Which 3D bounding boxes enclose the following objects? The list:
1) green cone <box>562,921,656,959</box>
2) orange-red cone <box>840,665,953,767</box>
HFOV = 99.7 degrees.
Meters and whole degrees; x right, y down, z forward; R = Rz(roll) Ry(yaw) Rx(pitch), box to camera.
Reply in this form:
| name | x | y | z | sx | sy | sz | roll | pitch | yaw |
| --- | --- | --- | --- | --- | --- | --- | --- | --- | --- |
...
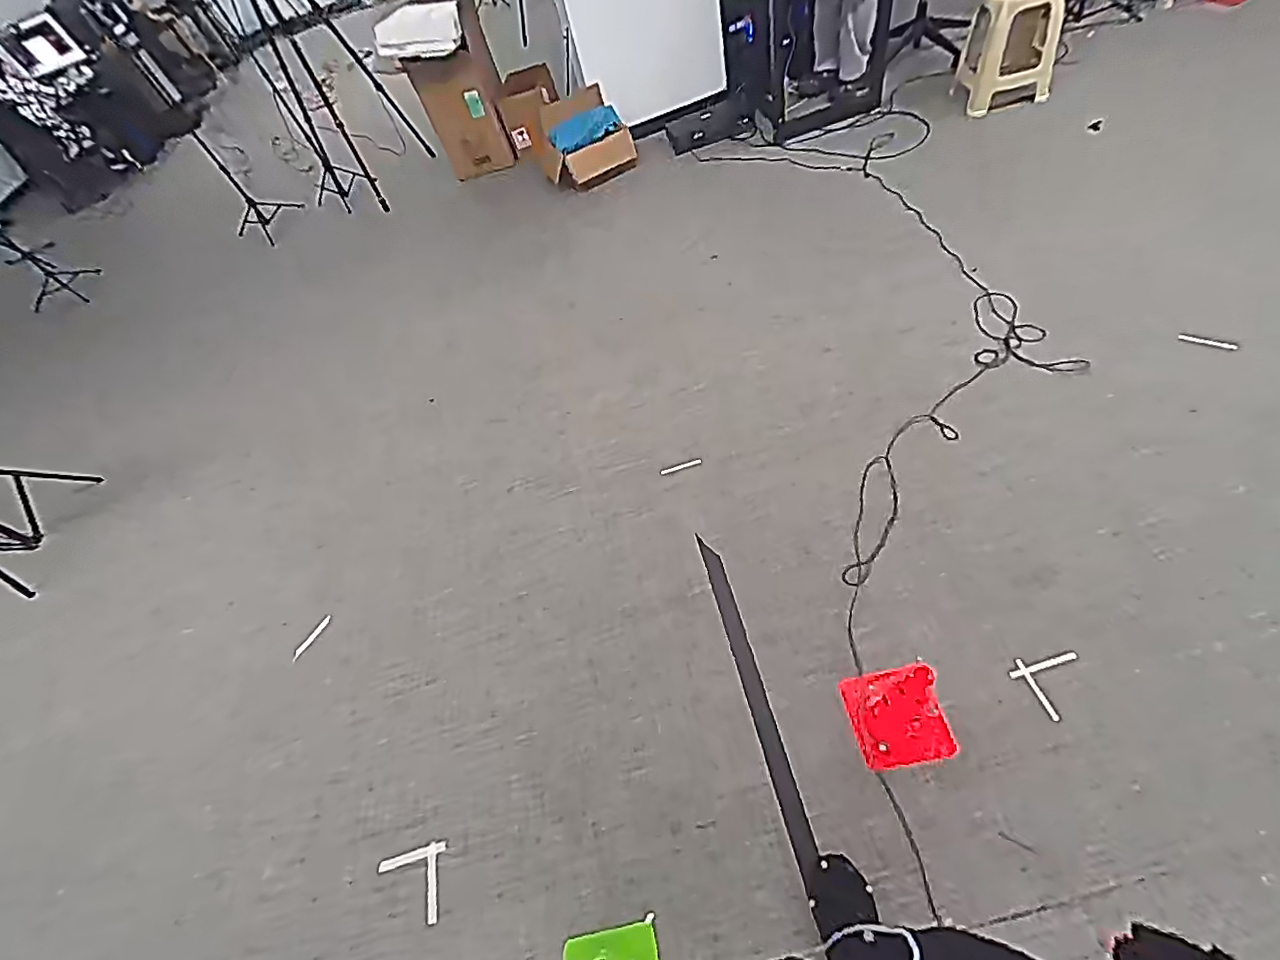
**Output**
| name | x | y | z | sx | sy | sz | roll | pitch | yaw |
| --- | --- | --- | --- | --- | --- | --- | --- | --- | --- |
| green cone | -0.098 | 0.921 | 0.938 | 0.202 | 0.368 | 0.200 | -18 | 52 | 5 |
| orange-red cone | 0.541 | 0.442 | 1.097 | 0.199 | 0.360 | 0.198 | -13 | 54 | 6 |
